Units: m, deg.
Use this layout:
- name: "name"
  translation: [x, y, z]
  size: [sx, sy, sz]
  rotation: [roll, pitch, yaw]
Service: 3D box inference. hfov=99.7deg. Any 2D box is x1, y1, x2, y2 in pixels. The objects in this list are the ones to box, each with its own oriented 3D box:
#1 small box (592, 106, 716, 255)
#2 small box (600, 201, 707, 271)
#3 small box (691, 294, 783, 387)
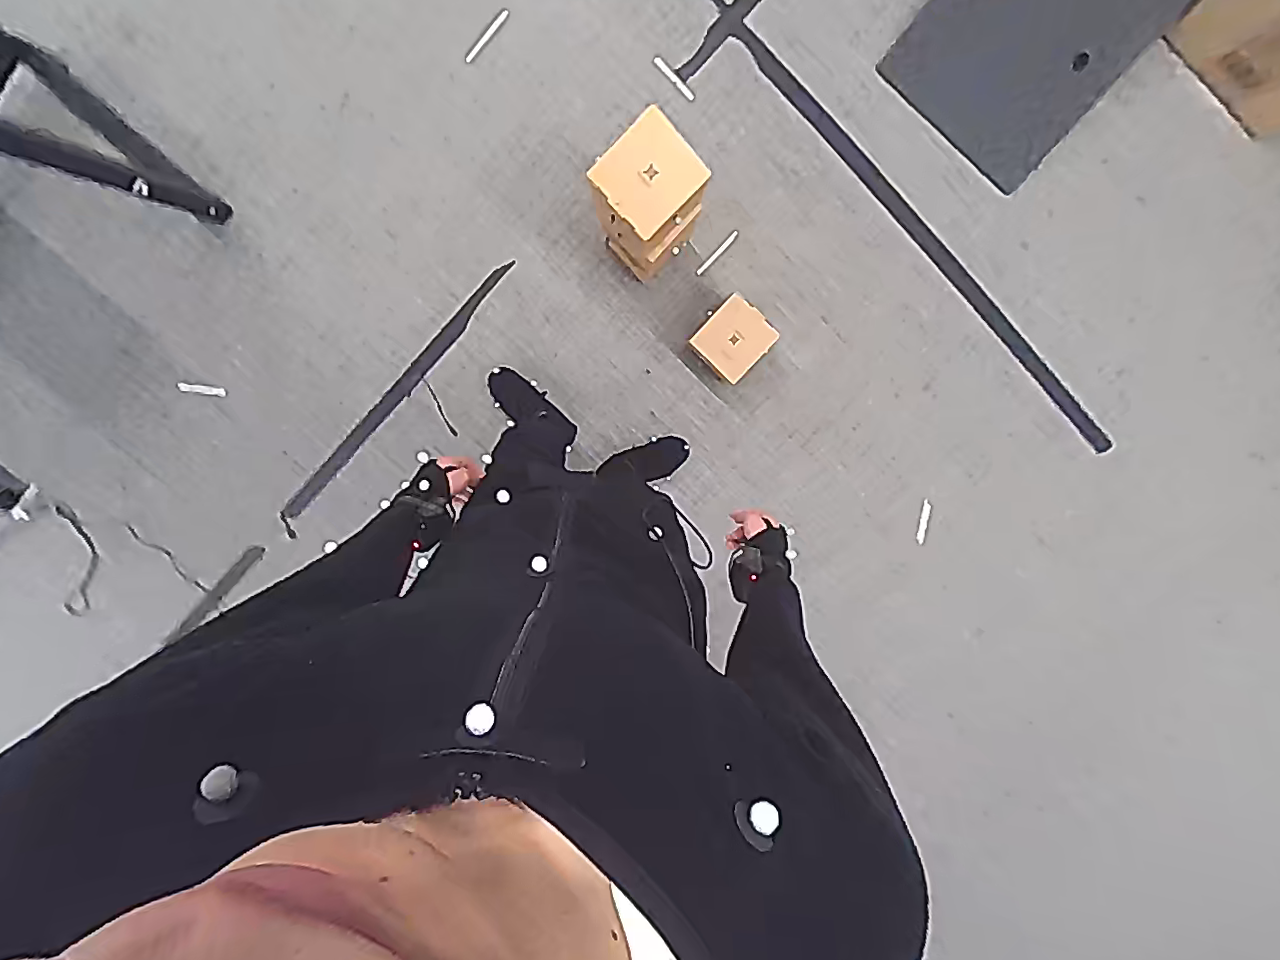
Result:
- name: "small box"
  translation: [0.024, -0.583, 1.079]
  size: [0.179, 0.176, 0.168]
  rotation: [-43, 99, 9]
- name: "small box"
  translation: [0.028, -0.606, 1.240]
  size: [0.179, 0.176, 0.168]
  rotation: [44, 99, -9]
- name: "small box"
  translation: [0.252, -0.374, 1.460]
  size: [0.168, 0.176, 0.179]
  rotation: [43, 100, -7]
